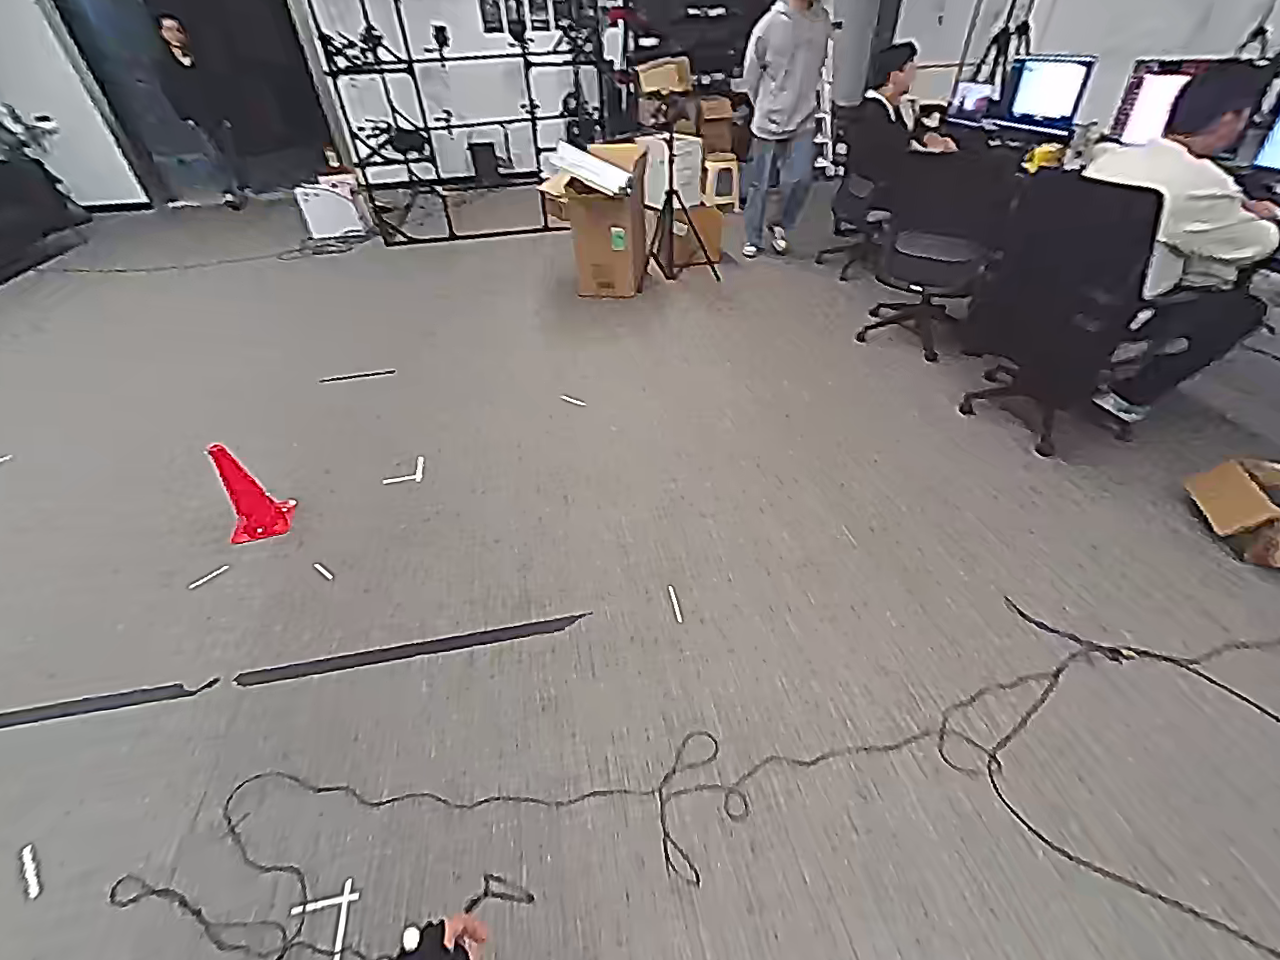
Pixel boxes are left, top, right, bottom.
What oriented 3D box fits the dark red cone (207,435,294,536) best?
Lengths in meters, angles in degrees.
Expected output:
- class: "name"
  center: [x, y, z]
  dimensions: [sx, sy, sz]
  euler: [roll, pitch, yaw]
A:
- class: "dark red cone"
  center: [-1.437, 0.006, 1.945]
  dimensions: [0.202, 0.394, 0.201]
  euler: [-13, 42, -13]
